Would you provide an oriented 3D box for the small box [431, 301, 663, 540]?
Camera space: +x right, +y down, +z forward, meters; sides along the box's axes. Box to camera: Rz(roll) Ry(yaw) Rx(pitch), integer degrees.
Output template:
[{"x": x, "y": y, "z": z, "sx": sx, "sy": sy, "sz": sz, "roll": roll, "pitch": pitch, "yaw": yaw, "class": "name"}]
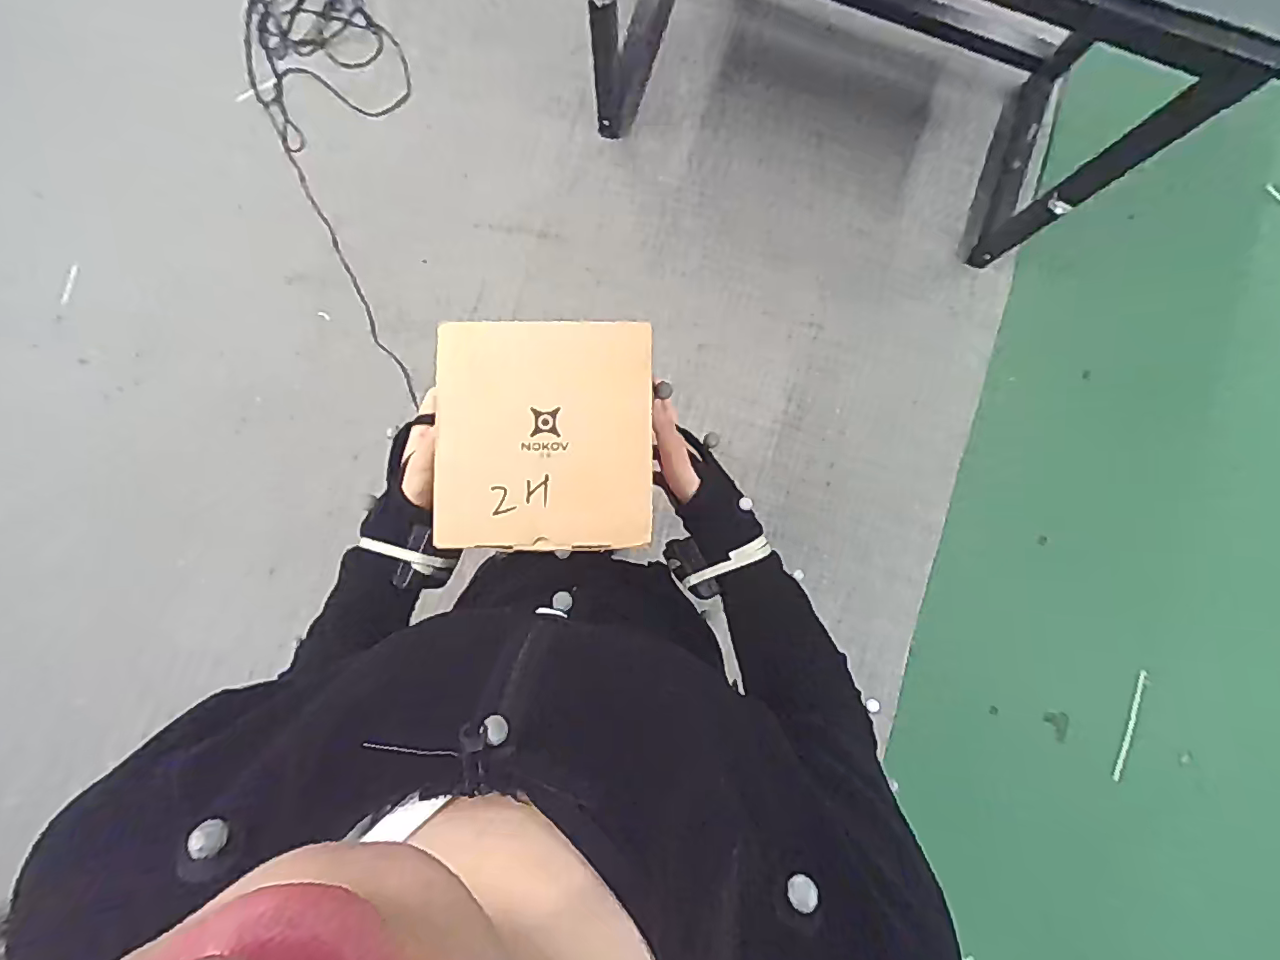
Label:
[{"x": -0.067, "y": -0.038, "z": 0.472, "sx": 0.168, "sy": 0.176, "sz": 0.179, "roll": 0, "pitch": 86, "yaw": 0, "class": "small box"}]
